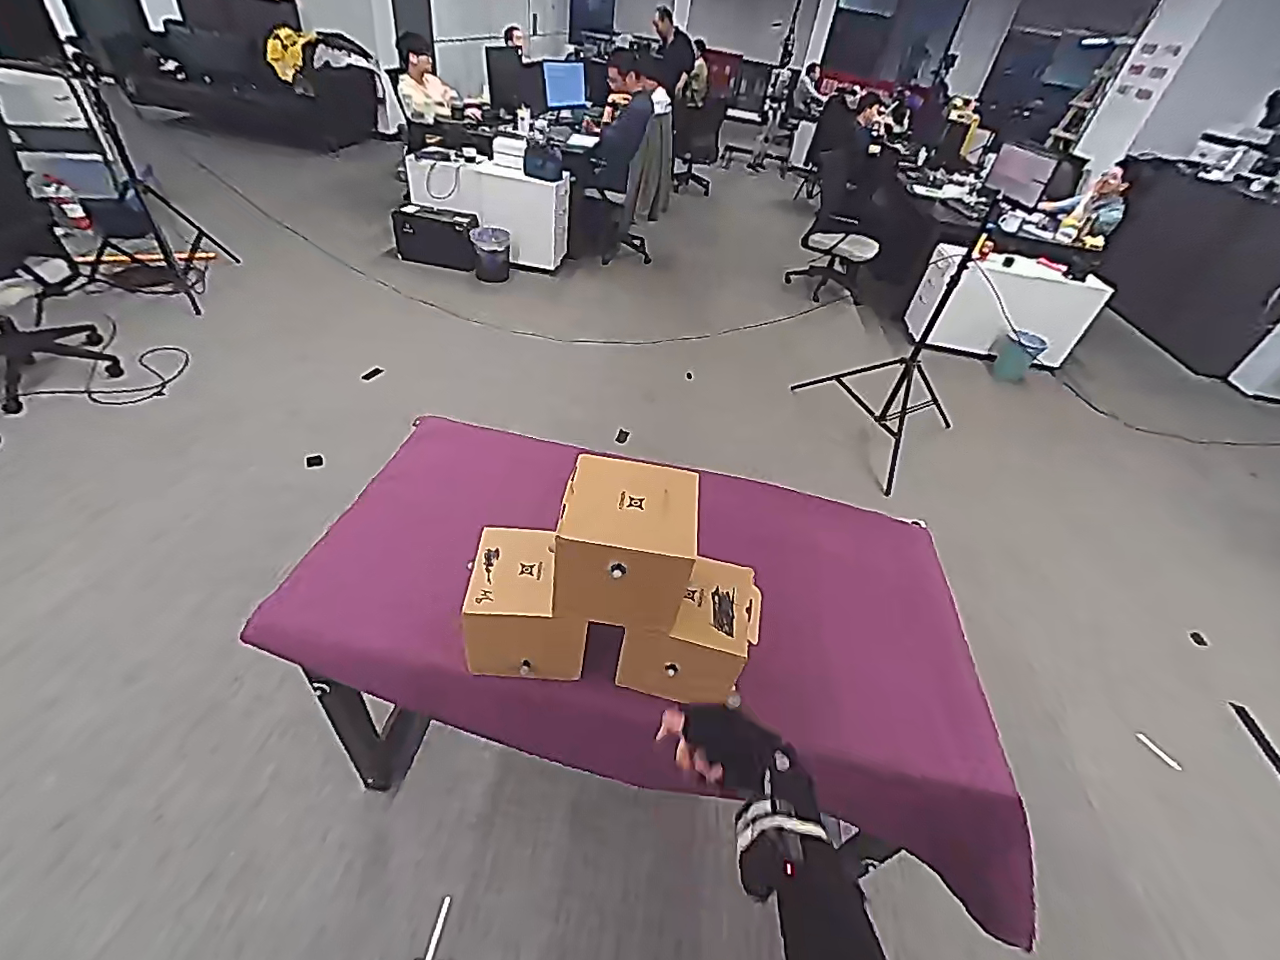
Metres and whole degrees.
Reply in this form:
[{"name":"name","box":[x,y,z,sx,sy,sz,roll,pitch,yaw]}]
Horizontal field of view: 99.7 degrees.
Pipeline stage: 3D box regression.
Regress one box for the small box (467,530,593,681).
[{"name":"small box","box":[-0.168,0.203,0.863,0.179,0.176,0.168,6,39,-7]}]

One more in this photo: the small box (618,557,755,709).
[{"name":"small box","box":[0.073,0.240,0.867,0.179,0.176,0.168,13,40,6]}]

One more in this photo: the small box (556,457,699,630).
[{"name":"small box","box":[-0.019,0.092,0.769,0.179,0.176,0.168,10,41,-2]}]
